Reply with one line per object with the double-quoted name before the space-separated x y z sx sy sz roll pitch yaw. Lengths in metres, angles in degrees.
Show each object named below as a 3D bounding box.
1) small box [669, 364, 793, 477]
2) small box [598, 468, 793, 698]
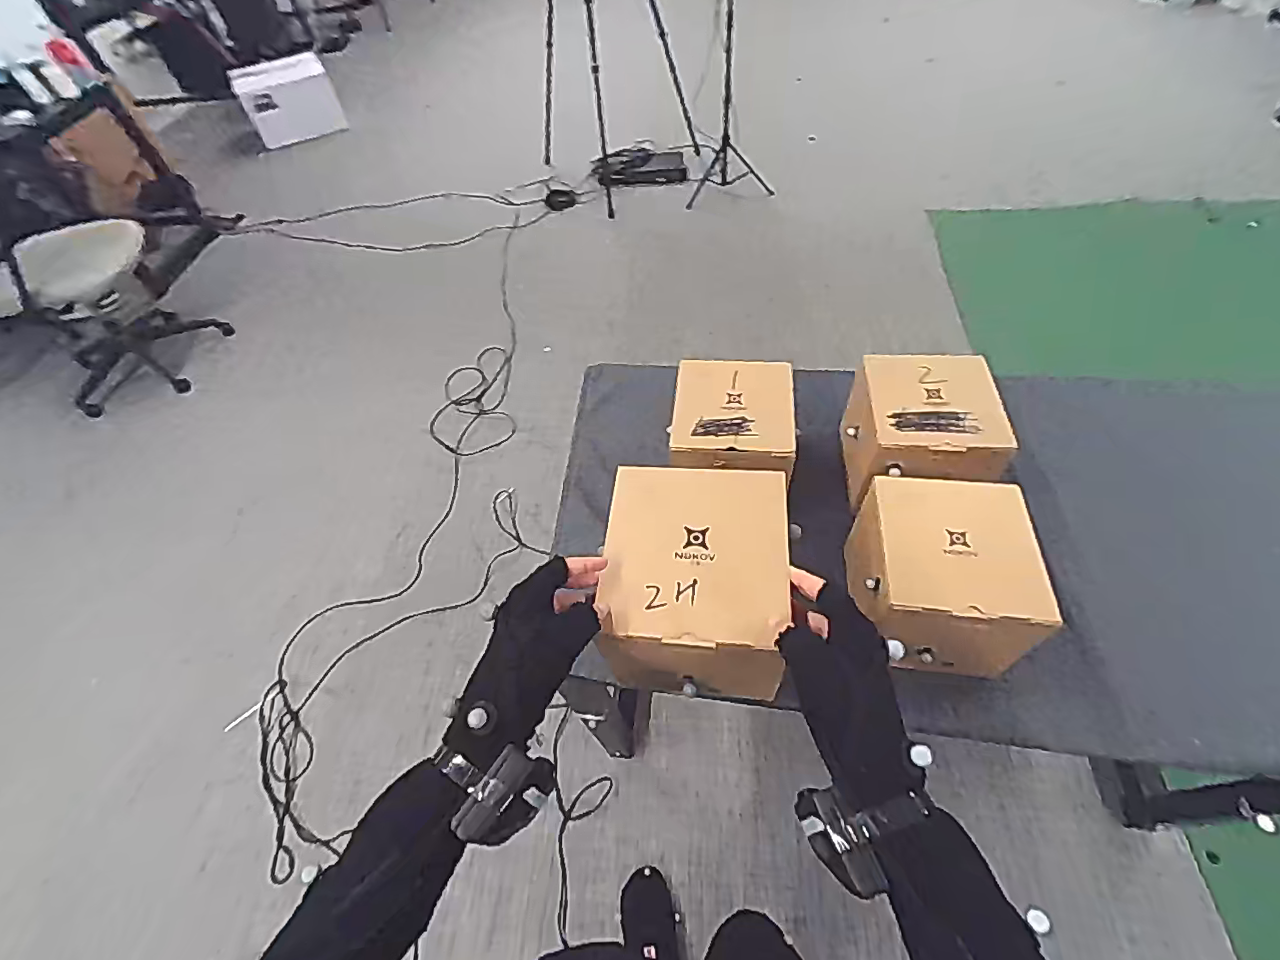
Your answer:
"small box" 0.138 -0.055 0.824 0.168 0.176 0.179 3 54 8
"small box" 0.063 0.107 0.559 0.168 0.176 0.179 2 56 10
